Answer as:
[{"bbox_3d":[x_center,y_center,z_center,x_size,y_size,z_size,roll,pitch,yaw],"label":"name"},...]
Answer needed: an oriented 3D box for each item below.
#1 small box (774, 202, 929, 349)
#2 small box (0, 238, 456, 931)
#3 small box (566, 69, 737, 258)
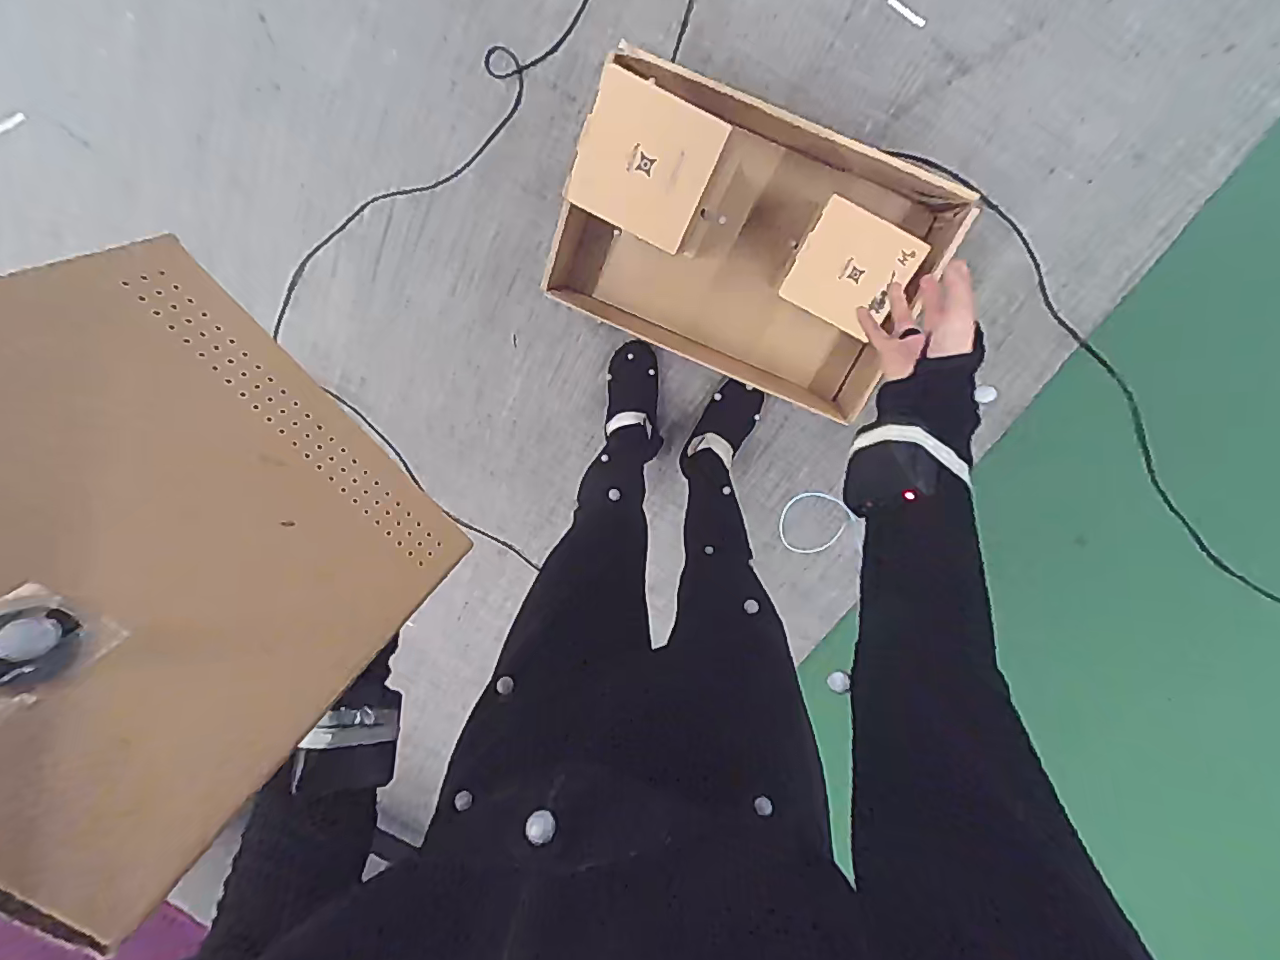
[{"bbox_3d":[0.348,-0.348,0.932,0.179,0.176,0.168,29,113,-2],"label":"small box"},{"bbox_3d":[-0.216,0.034,0.226,0.168,0.176,0.179,-25,111,37],"label":"small box"},{"bbox_3d":[0.022,-0.435,0.776,0.179,0.176,0.168,27,115,-3],"label":"small box"}]
